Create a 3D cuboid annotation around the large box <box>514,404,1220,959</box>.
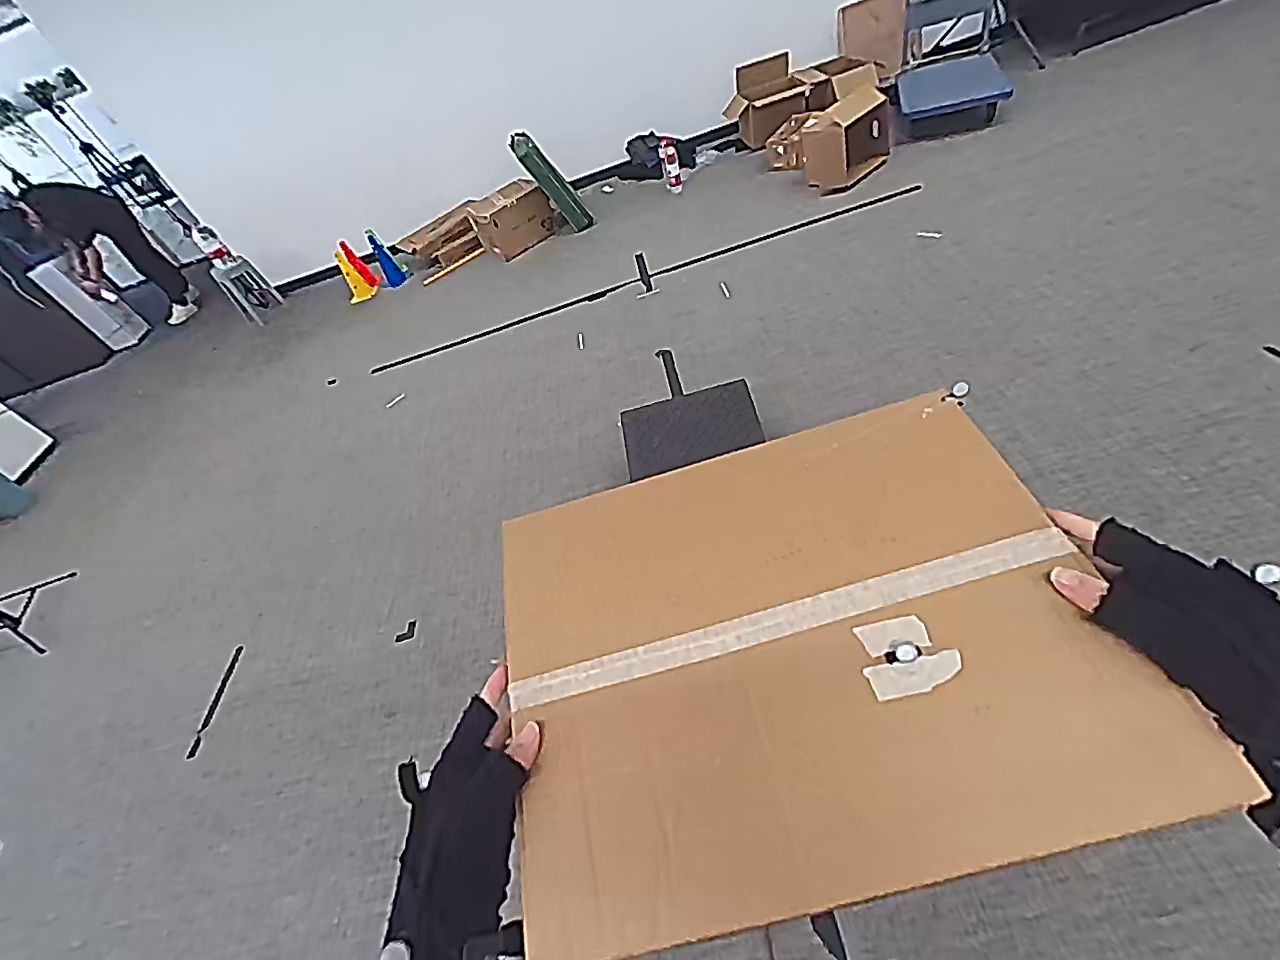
[{"bbox_3d":[0.134,0.192,0.513,0.408,0.320,0.320,-17,53,3],"label":"large box"}]
